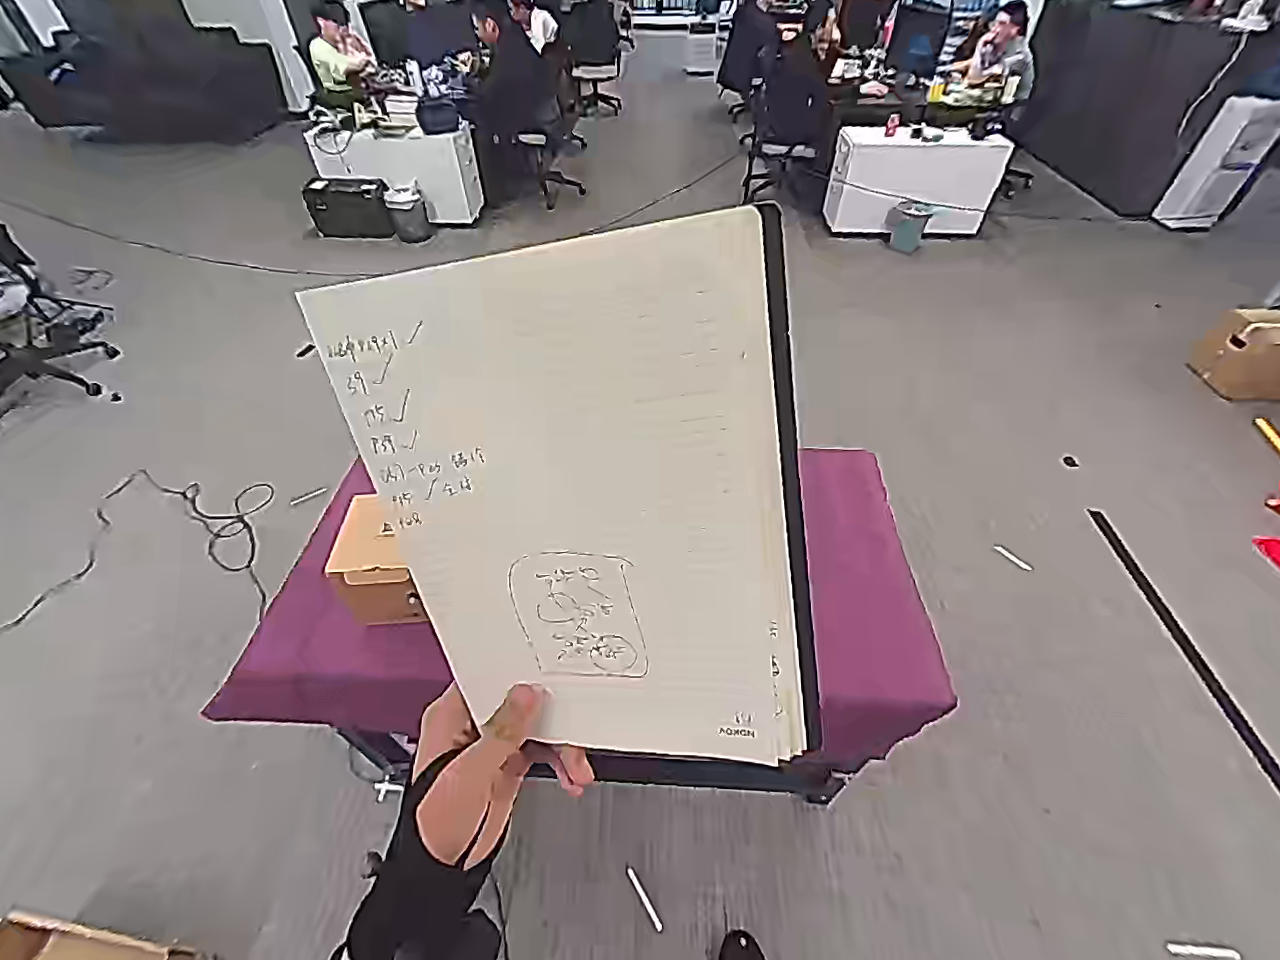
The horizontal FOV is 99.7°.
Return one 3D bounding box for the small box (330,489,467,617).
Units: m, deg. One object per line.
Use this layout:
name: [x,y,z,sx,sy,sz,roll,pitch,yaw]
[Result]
small box: [-0.425,0.138,0.989,0.168,0.176,0.179,-2,46,-3]
